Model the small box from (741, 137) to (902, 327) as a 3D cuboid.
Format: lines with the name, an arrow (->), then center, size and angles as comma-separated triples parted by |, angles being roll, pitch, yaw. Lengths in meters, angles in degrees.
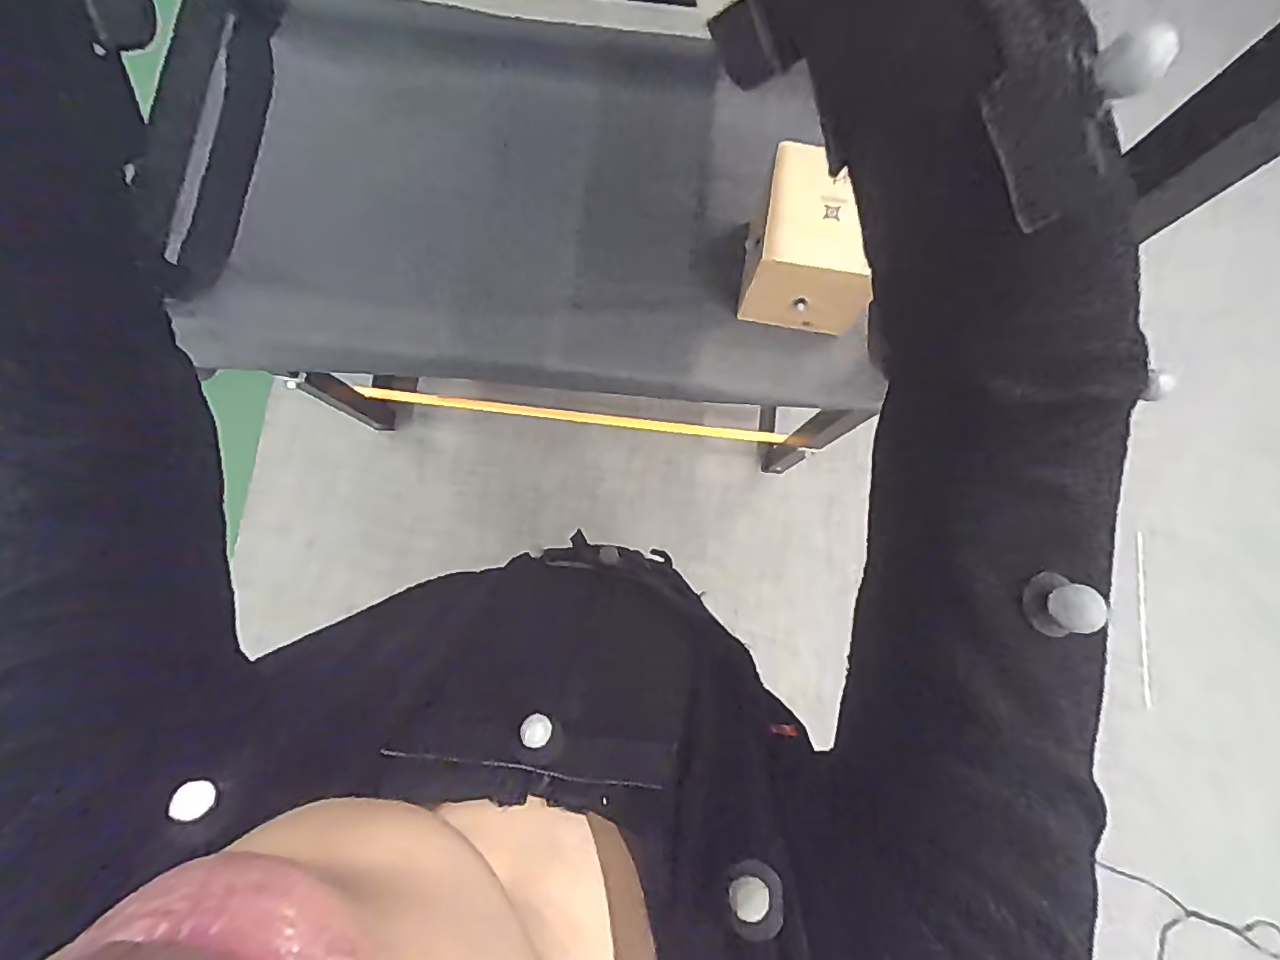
small box -> 0.247, -0.340, 0.773 | 0.168, 0.176, 0.179 | 10, 80, 0
